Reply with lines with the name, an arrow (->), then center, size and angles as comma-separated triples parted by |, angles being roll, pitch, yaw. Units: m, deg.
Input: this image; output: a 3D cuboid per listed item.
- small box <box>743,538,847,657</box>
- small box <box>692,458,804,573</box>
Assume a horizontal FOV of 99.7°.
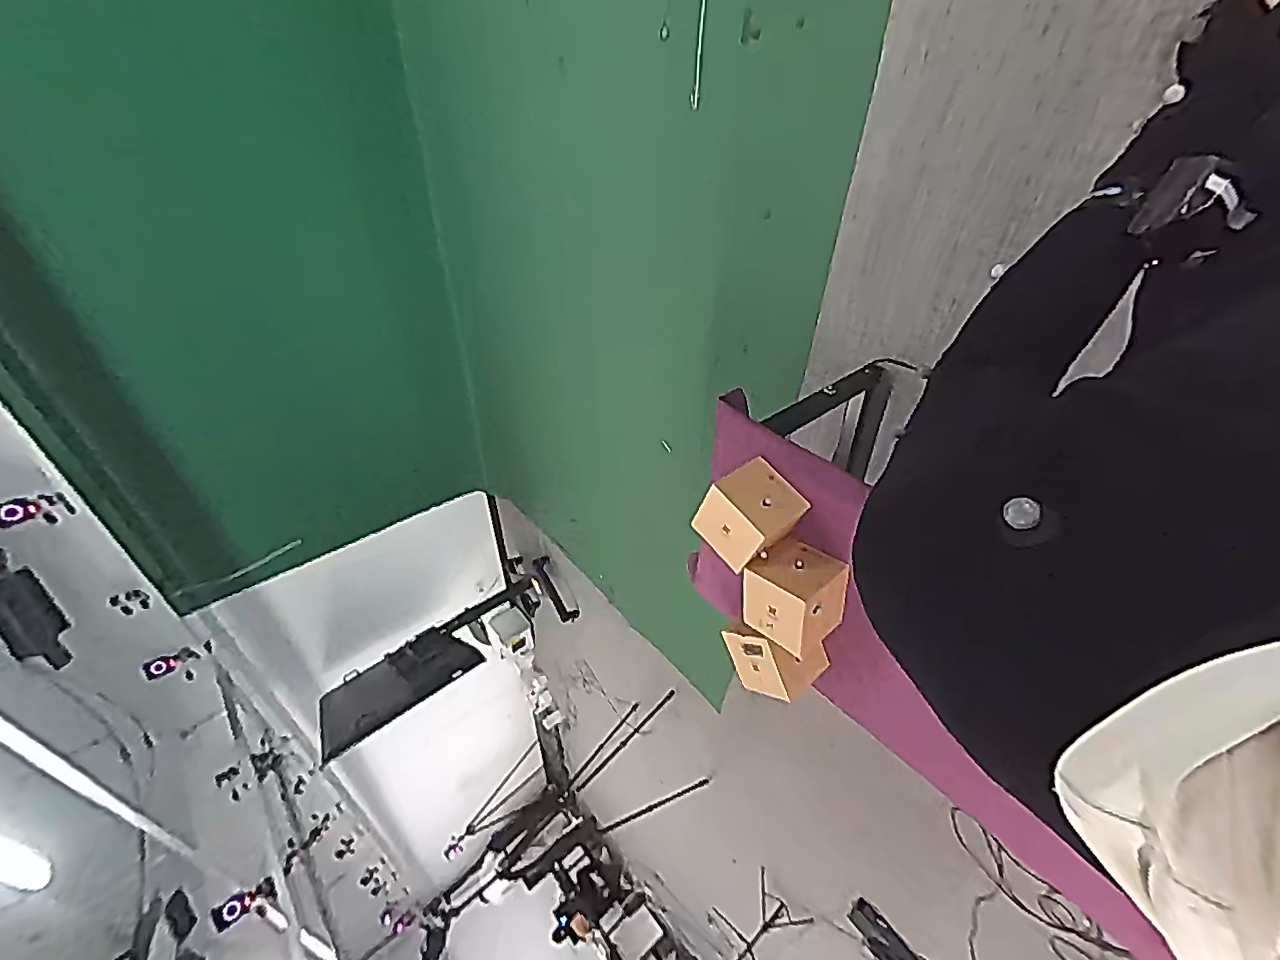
small box -> 0.359, 0.264, 1.256 | 0.168, 0.176, 0.179 | 28, 135, 43
small box -> 0.254, 0.079, 1.263 | 0.168, 0.176, 0.179 | 48, 148, 21
